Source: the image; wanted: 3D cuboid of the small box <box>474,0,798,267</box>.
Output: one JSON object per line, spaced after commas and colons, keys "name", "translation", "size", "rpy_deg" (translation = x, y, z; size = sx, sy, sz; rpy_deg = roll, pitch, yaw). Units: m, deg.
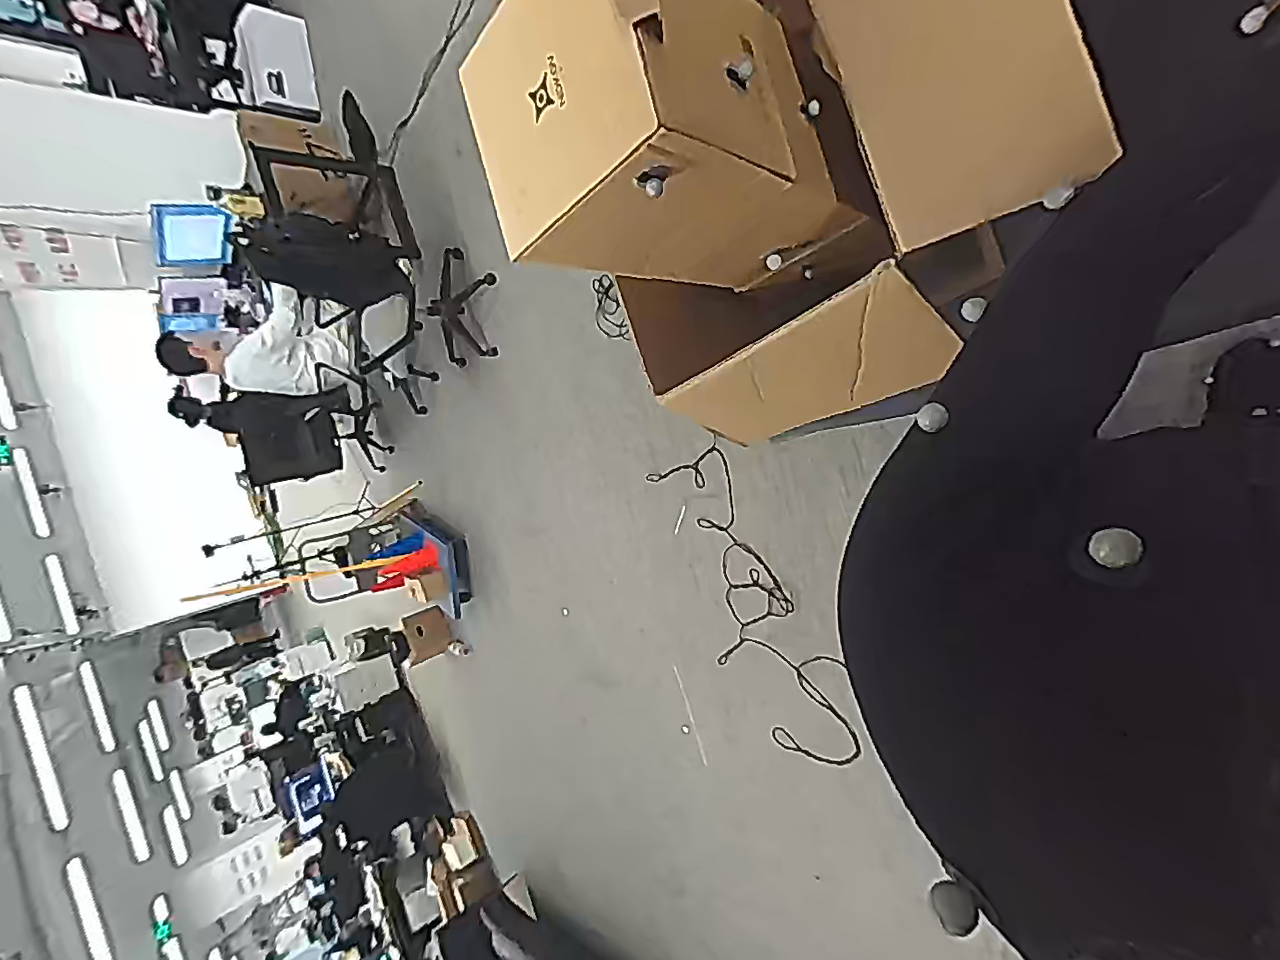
{"name": "small box", "translation": [-0.002, -0.292, 0.440], "size": [0.179, 0.176, 0.168], "rpy_deg": [-16, 90, 44]}
